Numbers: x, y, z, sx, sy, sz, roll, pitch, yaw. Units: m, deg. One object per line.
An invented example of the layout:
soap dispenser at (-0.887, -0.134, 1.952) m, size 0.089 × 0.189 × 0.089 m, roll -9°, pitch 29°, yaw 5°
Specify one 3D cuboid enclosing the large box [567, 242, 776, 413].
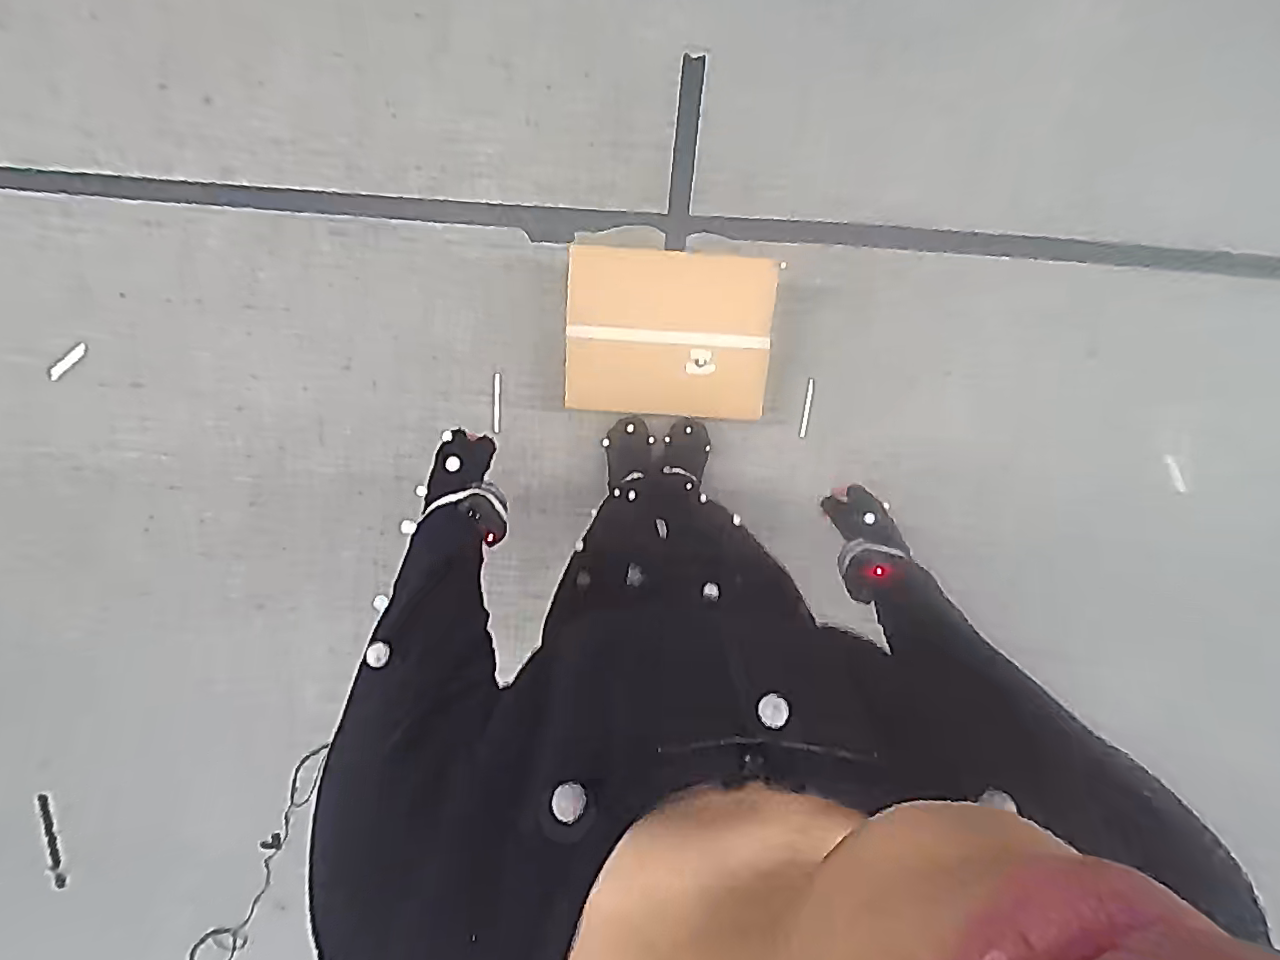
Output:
large box at (0.051, -0.332, 1.207) m, size 0.408 × 0.320 × 0.320 m, roll 3°, pitch 106°, yaw -2°
